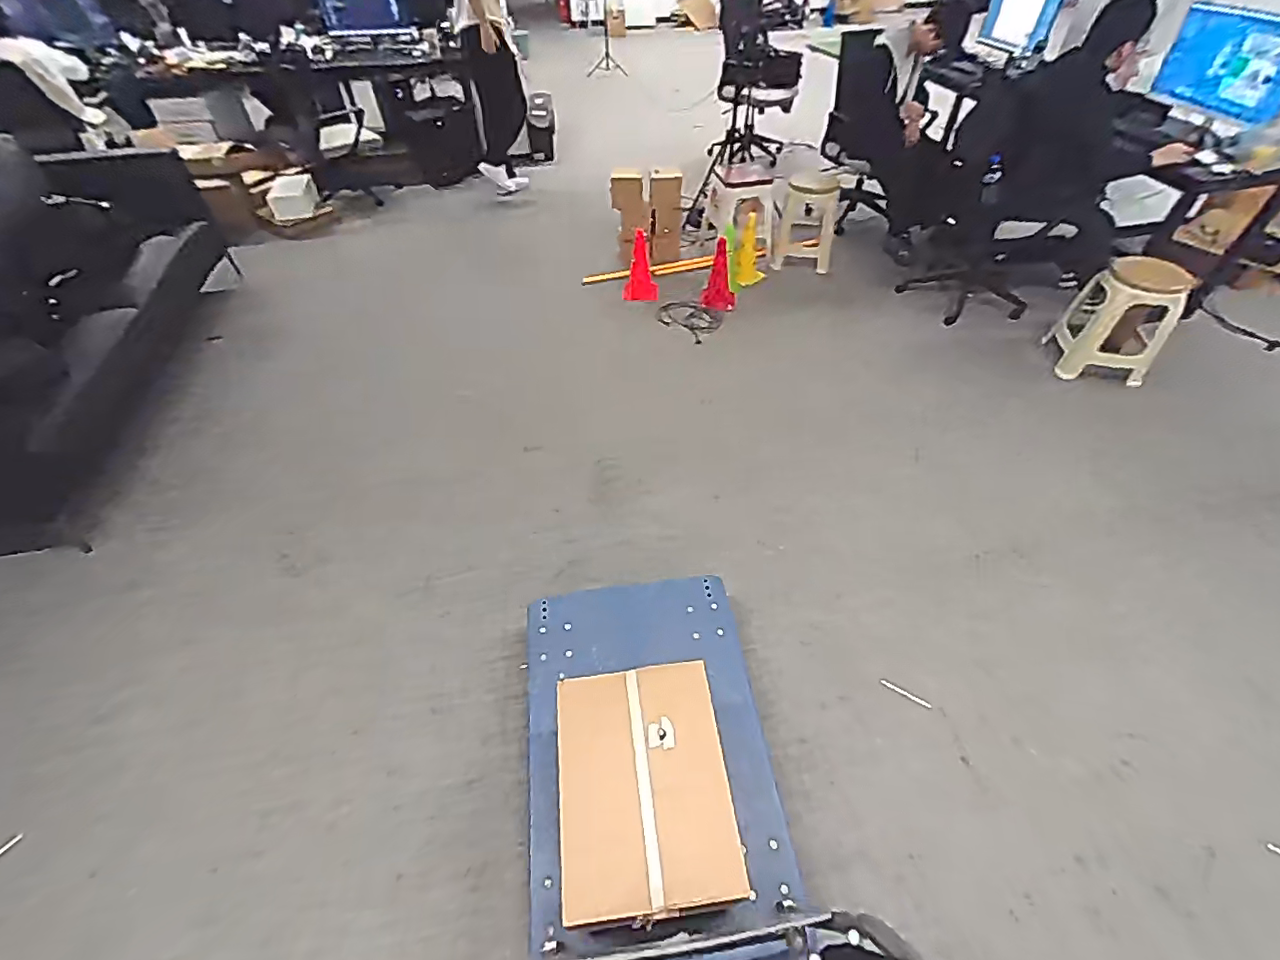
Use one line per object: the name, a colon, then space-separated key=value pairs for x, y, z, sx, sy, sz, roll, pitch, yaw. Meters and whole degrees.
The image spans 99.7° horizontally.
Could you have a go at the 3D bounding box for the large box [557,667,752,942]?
large box: x=0.013 y=0.661 z=1.115 sx=0.320 sy=0.320 sz=0.408 roll=-7 pitch=48 yaw=-4
